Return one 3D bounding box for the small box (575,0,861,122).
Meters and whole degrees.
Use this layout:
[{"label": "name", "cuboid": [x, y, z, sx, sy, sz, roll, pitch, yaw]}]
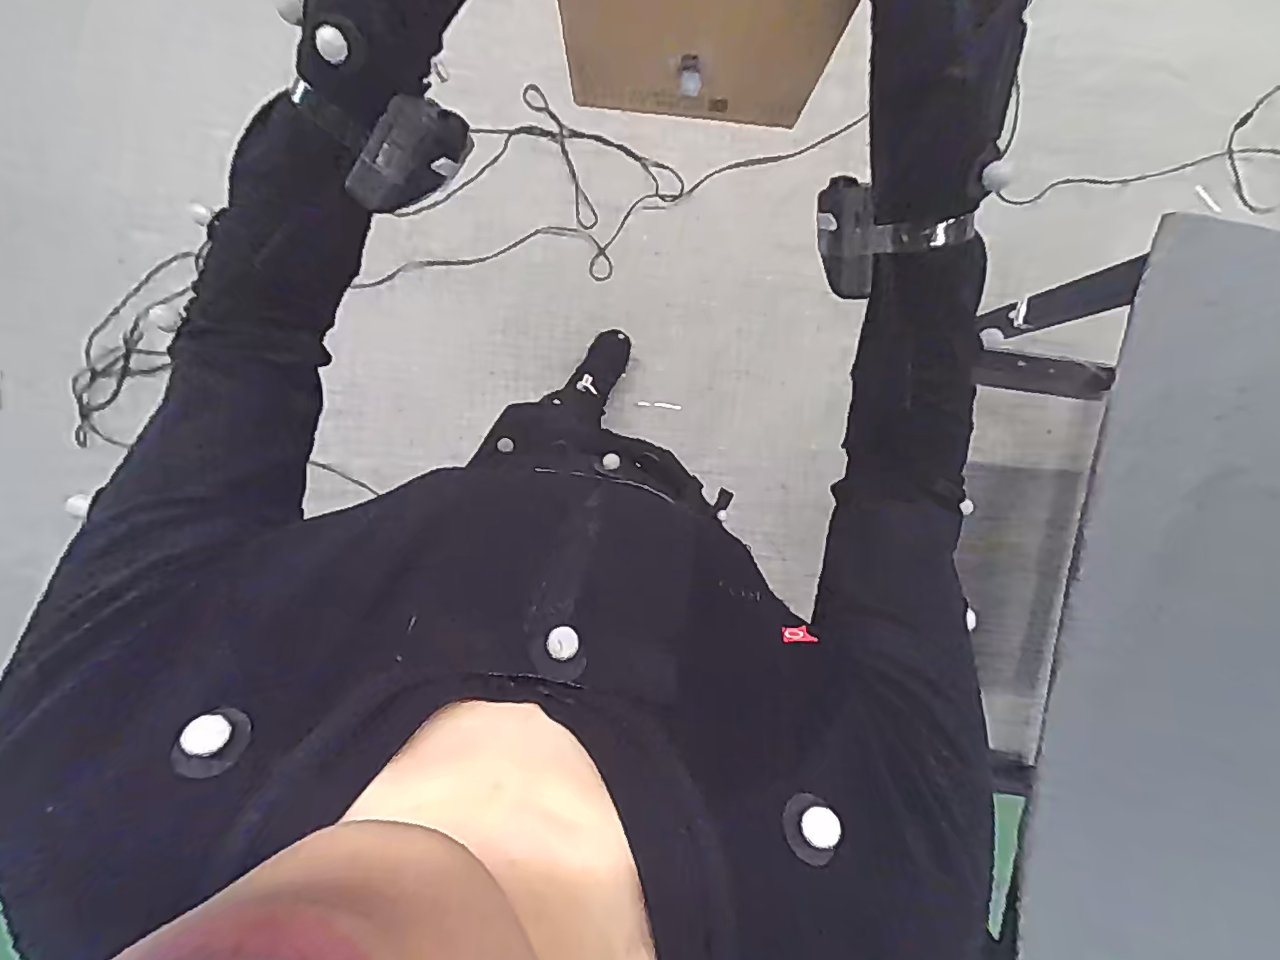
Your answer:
[{"label": "small box", "cuboid": [0.048, -0.355, 0.314, 0.168, 0.176, 0.179, 6, 93, -2]}]
